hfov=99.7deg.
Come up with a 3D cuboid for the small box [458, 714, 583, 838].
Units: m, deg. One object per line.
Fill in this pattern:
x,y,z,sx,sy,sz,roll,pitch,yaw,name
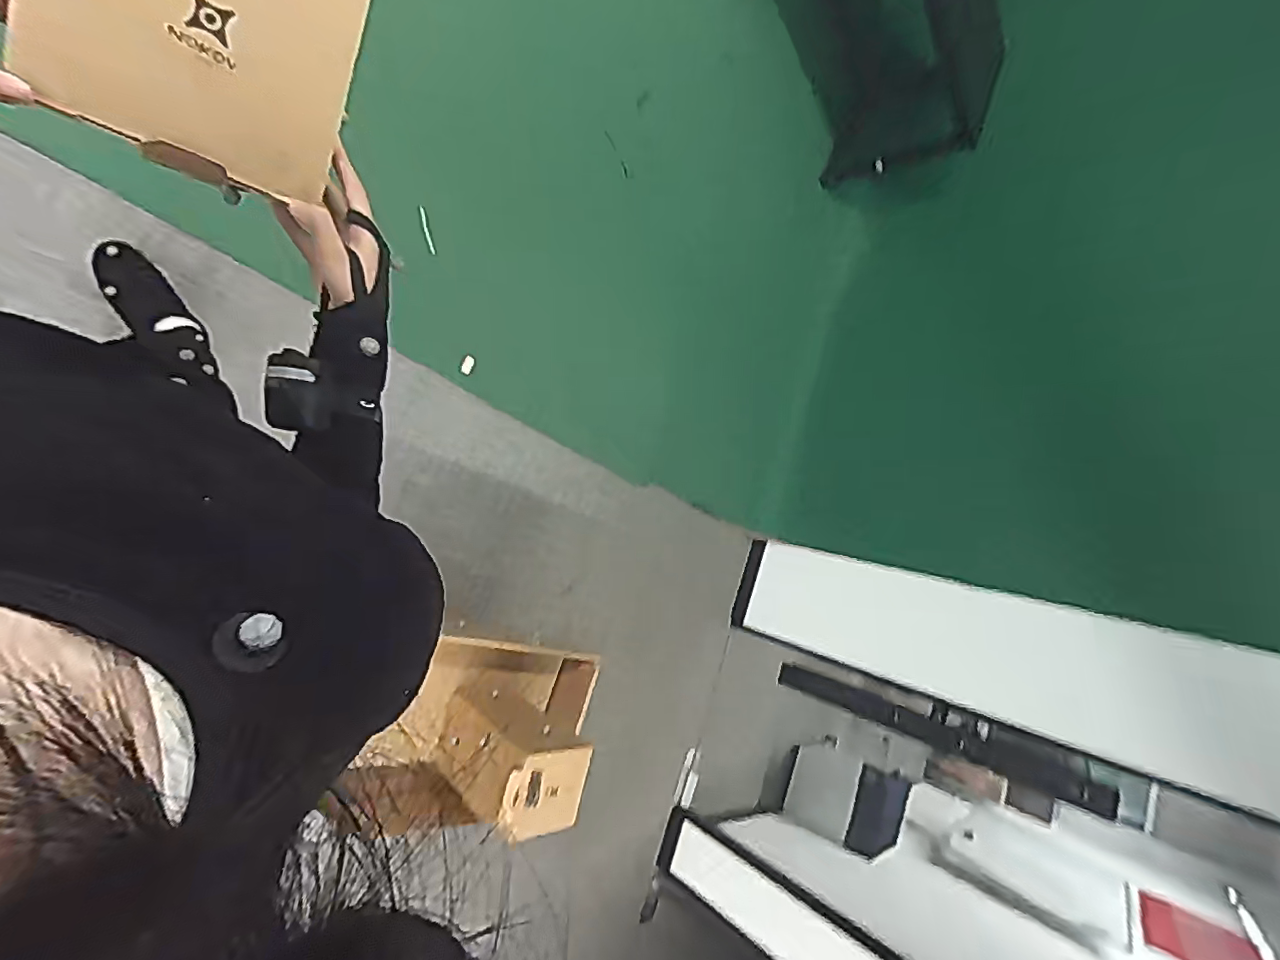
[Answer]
-0.254,0.607,1.134,0.179,0.176,0.168,21,82,-44,small box
